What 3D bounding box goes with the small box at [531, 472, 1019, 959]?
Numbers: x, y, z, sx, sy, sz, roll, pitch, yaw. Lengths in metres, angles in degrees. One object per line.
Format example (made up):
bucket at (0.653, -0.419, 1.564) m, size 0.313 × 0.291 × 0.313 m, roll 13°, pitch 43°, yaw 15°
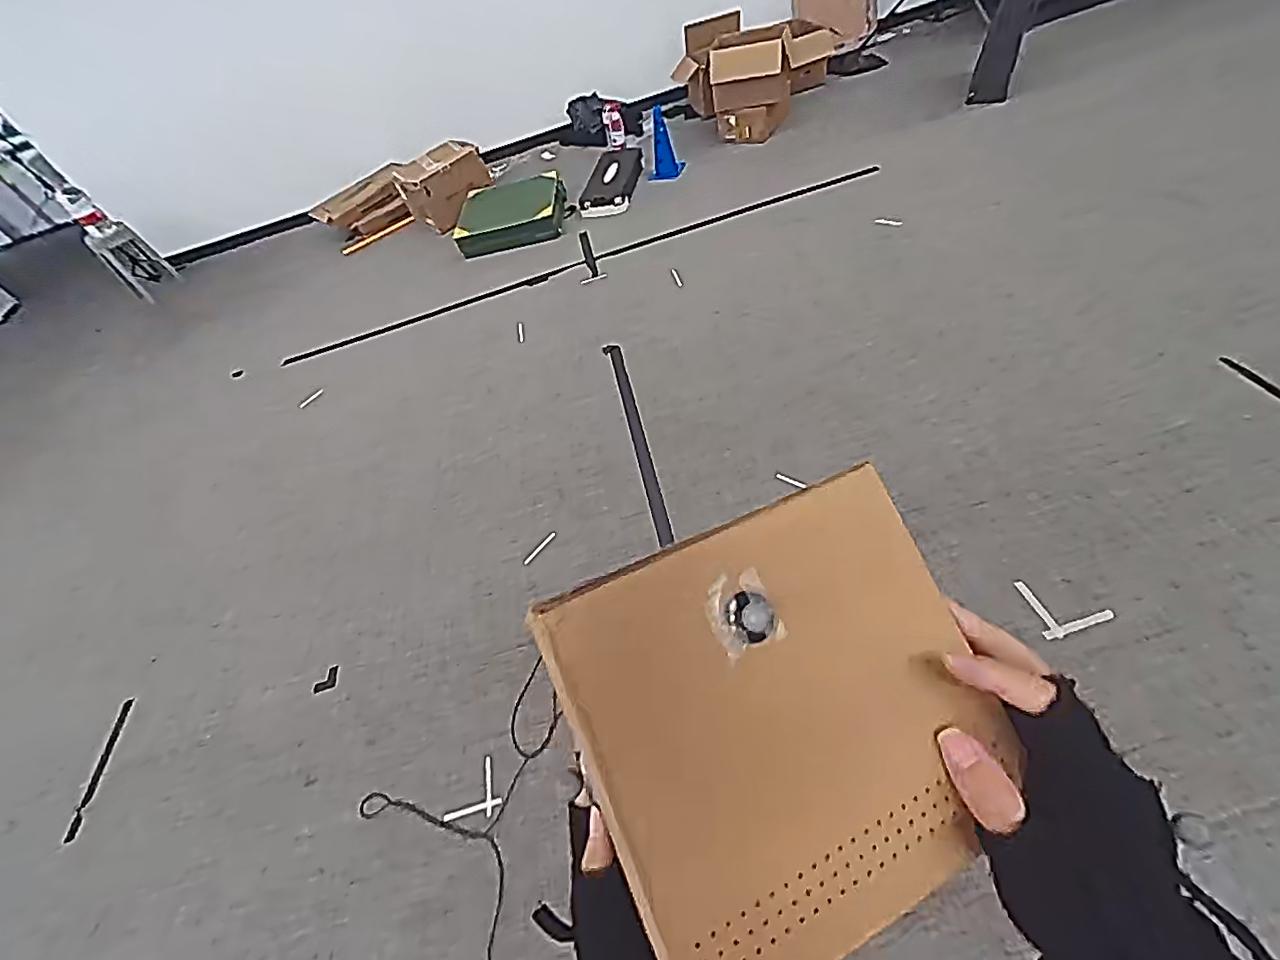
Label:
small box at (0.052, 0.121, 0.299) m, size 0.179 × 0.168 × 0.176 m, roll -20°, pitch 79°, yaw -17°
